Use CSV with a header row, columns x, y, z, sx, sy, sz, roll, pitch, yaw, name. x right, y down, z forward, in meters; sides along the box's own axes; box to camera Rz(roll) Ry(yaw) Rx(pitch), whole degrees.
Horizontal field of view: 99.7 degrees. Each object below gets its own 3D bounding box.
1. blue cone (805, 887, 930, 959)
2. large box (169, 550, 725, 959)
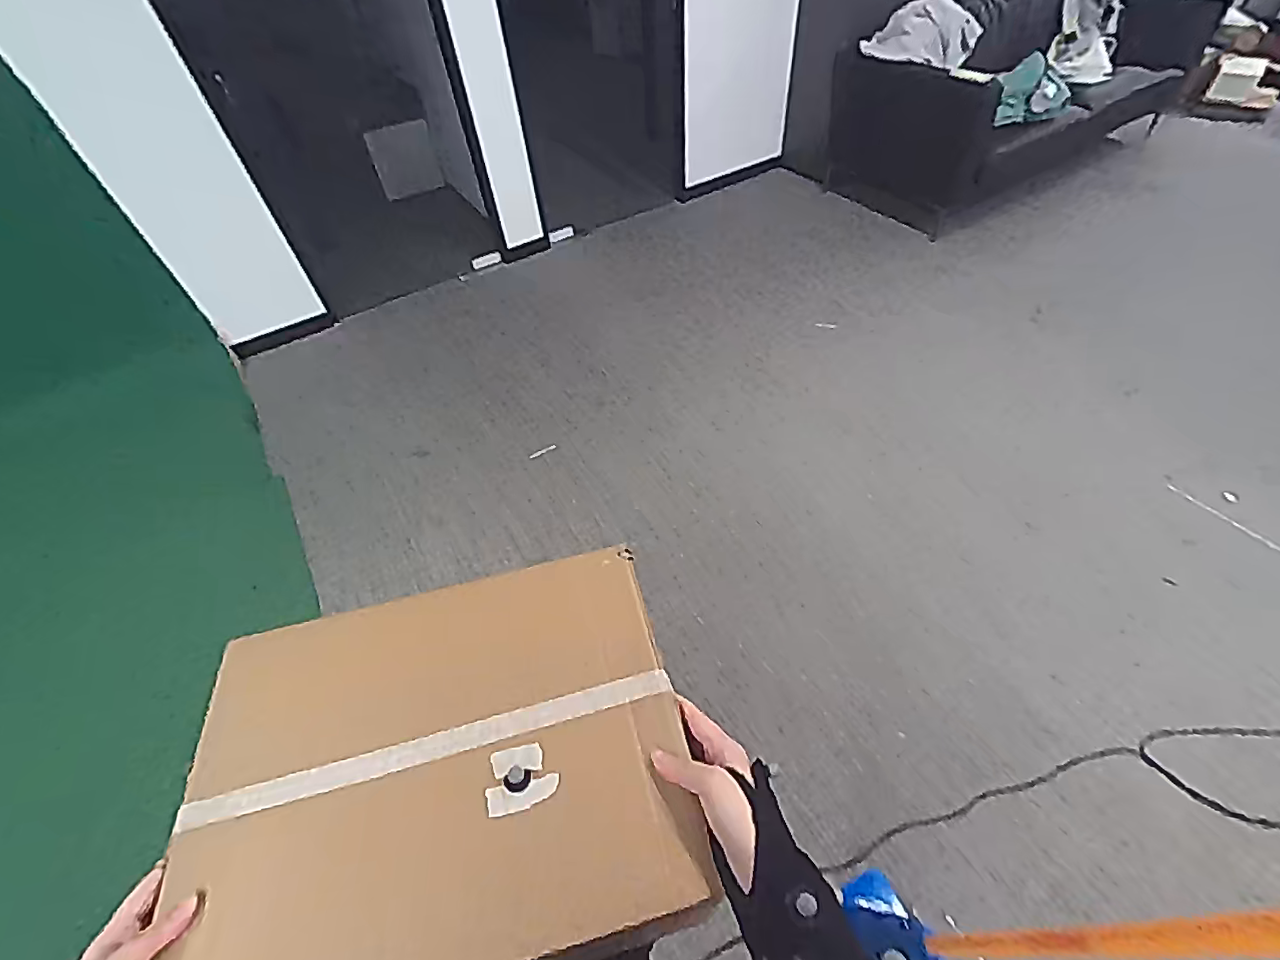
x,y,z,sx,sy,sz,roll,pitch,yaw,name
0.446,0.849,0.965,0.192,0.380,0.193,-21,51,-12,blue cone
-0.159,0.329,0.581,0.408,0.320,0.320,-13,49,-8,large box
